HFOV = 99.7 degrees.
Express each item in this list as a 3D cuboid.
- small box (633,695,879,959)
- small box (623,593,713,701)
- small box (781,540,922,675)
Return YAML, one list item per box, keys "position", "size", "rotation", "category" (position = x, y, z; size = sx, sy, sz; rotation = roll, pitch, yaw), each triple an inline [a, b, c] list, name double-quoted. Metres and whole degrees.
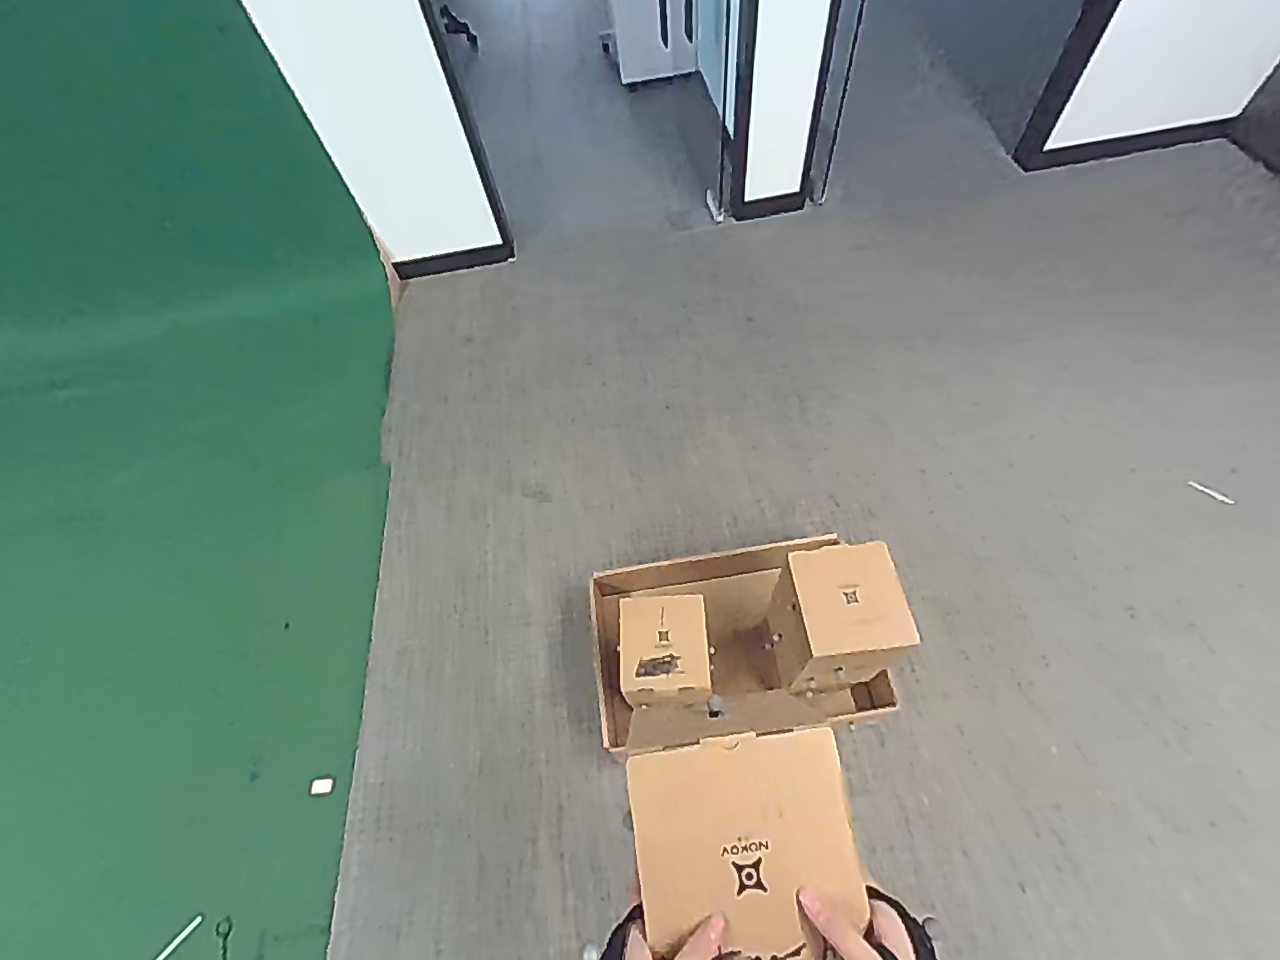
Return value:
- position: [0.085, 0.300, 0.489]
  size: [0.168, 0.176, 0.179]
  rotation: [-8, 76, 0]
  category: "small box"
- position: [0.058, 0.340, 1.081]
  size: [0.168, 0.176, 0.179]
  rotation: [-4, 58, 4]
  category: "small box"
- position: [0.347, 0.223, 0.929]
  size: [0.168, 0.176, 0.179]
  rotation: [-7, 59, 3]
  category: "small box"
